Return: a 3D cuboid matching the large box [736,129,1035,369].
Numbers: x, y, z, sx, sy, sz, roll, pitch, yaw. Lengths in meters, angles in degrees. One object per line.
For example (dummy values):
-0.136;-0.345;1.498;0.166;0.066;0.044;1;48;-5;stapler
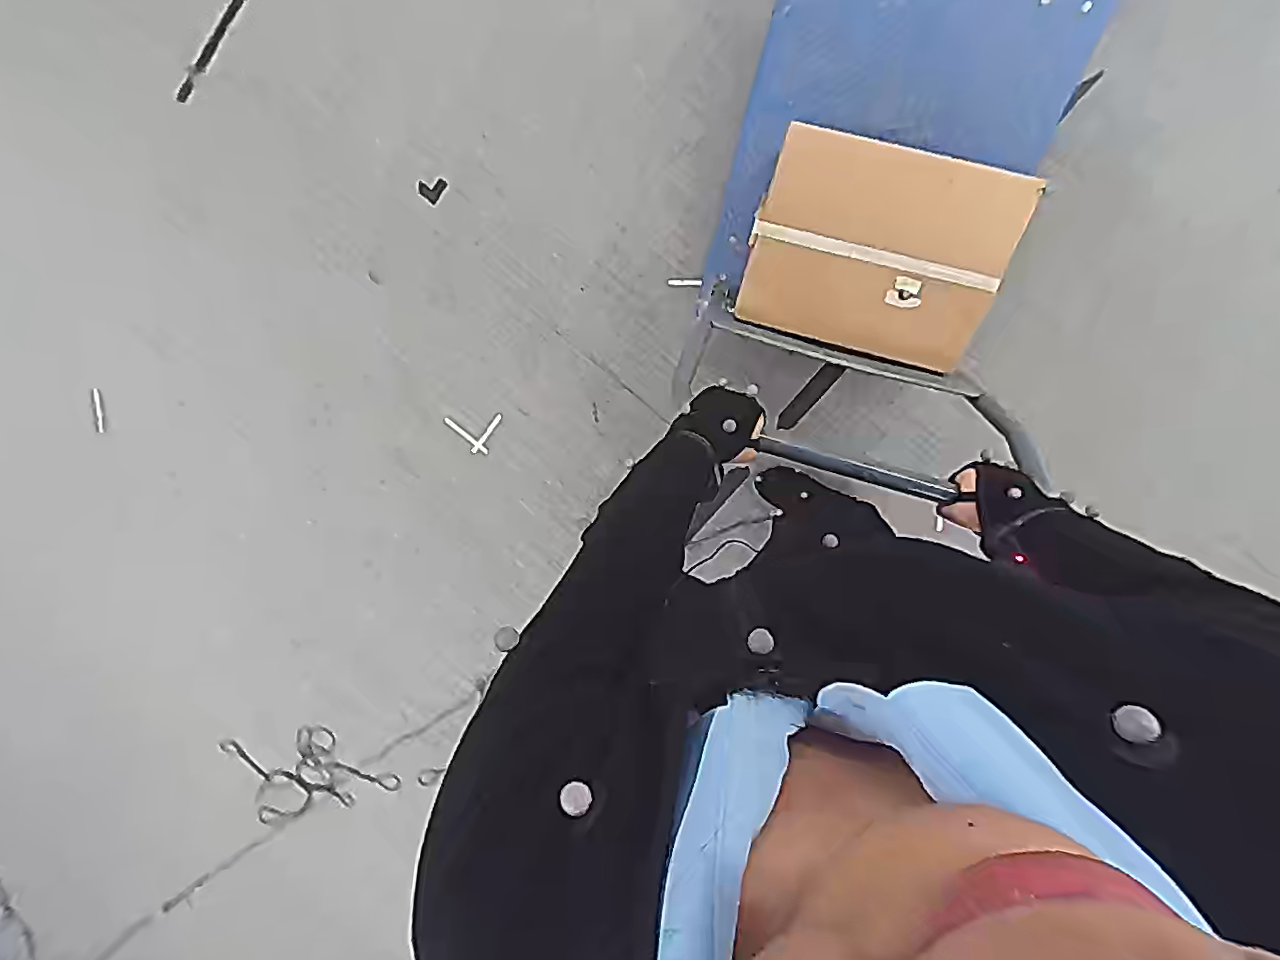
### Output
0.422;-0.443;1.057;0.408;0.320;0.320;16;117;4;large box
